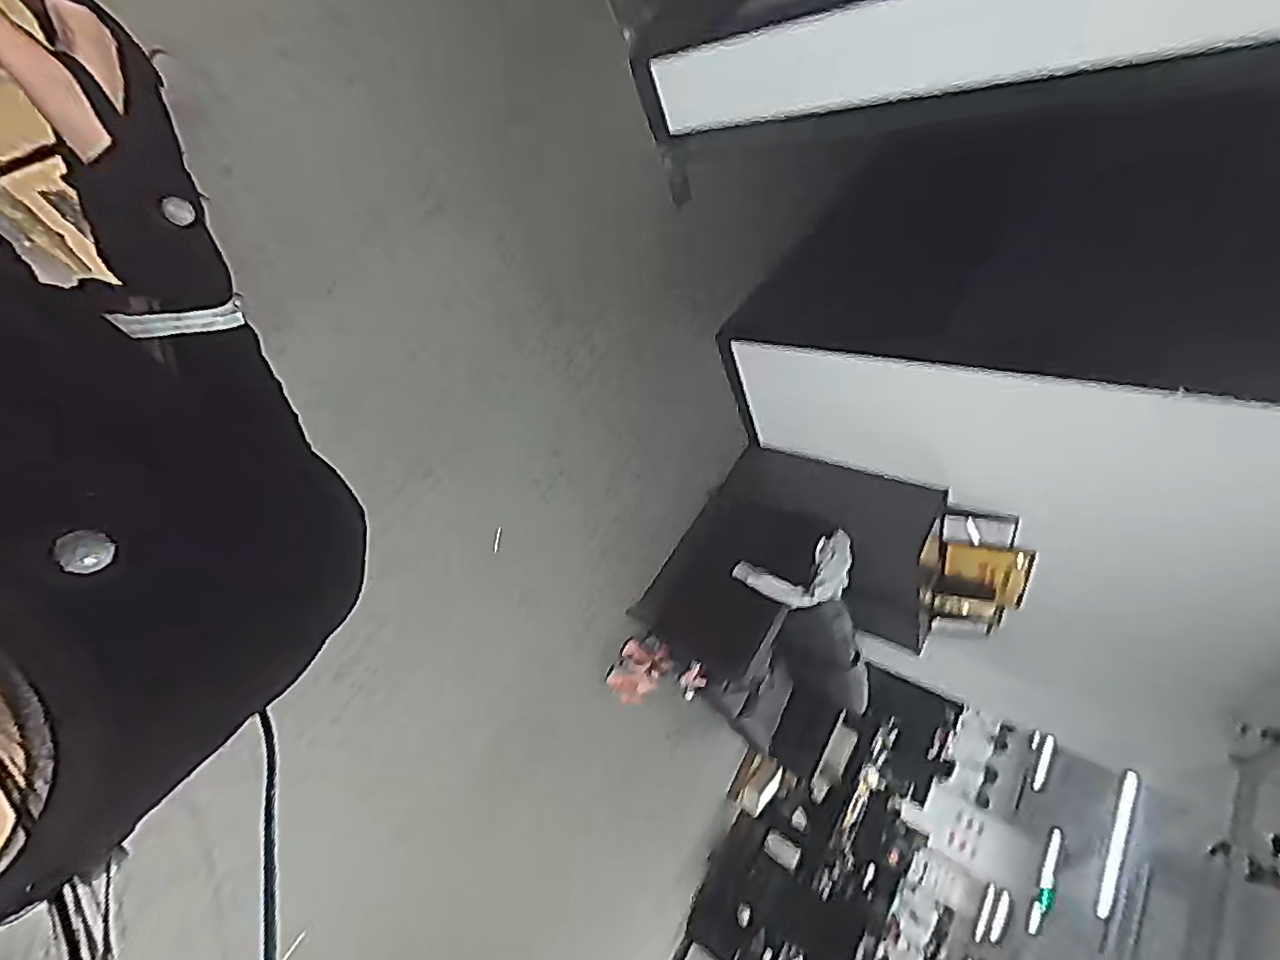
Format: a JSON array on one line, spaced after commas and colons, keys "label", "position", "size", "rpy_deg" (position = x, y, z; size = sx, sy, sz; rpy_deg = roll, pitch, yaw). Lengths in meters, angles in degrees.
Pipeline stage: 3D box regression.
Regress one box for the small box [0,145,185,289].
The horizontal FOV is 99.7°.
[{"label": "small box", "position": [-0.986, -0.472, 0.970], "size": [0.179, 0.176, 0.168], "rpy_deg": [-52, 141, -20]}]
